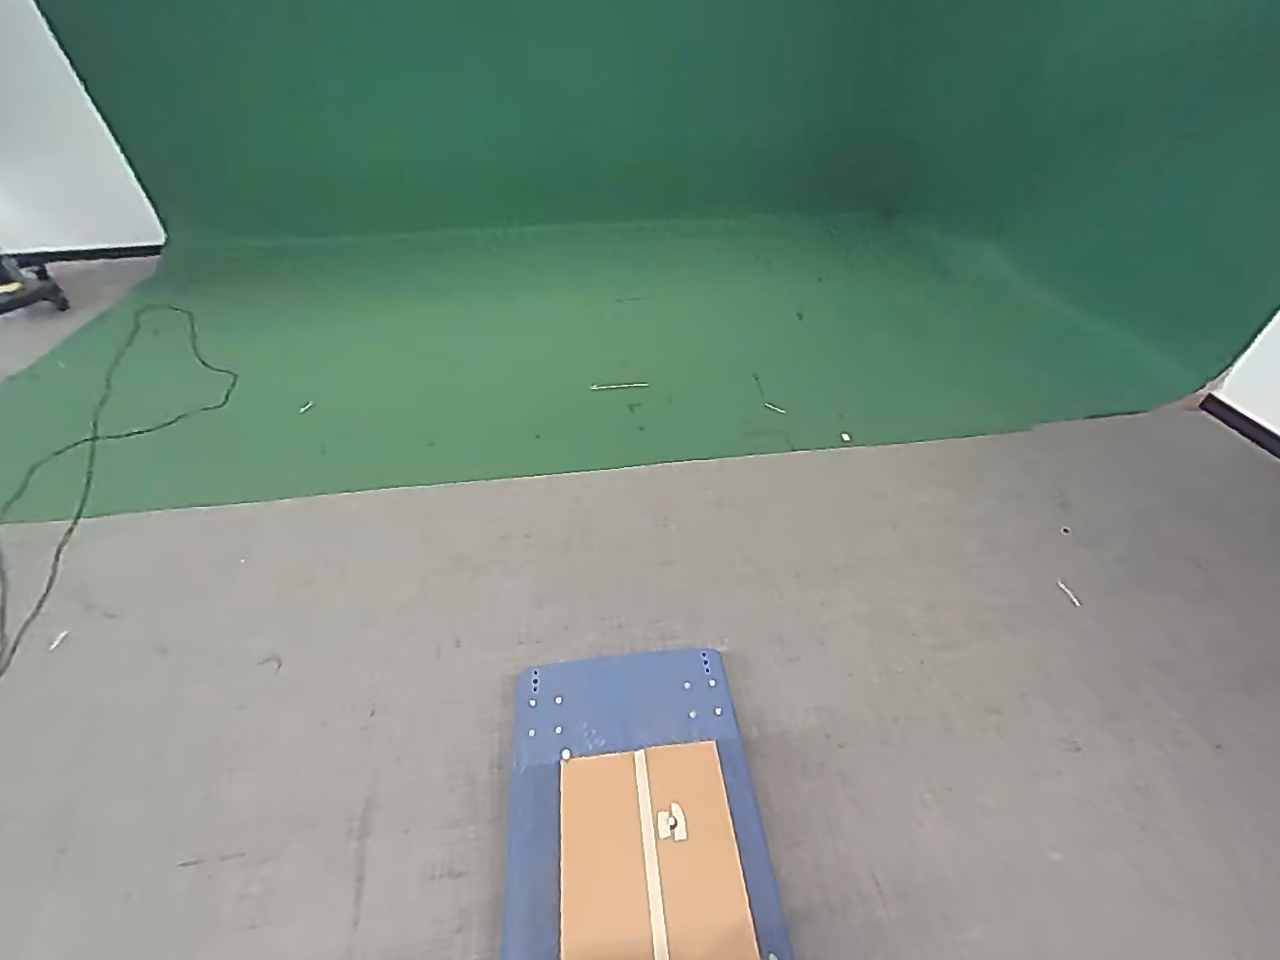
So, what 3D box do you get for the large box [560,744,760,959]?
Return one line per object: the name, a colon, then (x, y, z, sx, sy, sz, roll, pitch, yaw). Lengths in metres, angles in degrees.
large box: (0.021, 0.788, 1.032, 0.320, 0.320, 0.408, -4, 42, -4)
